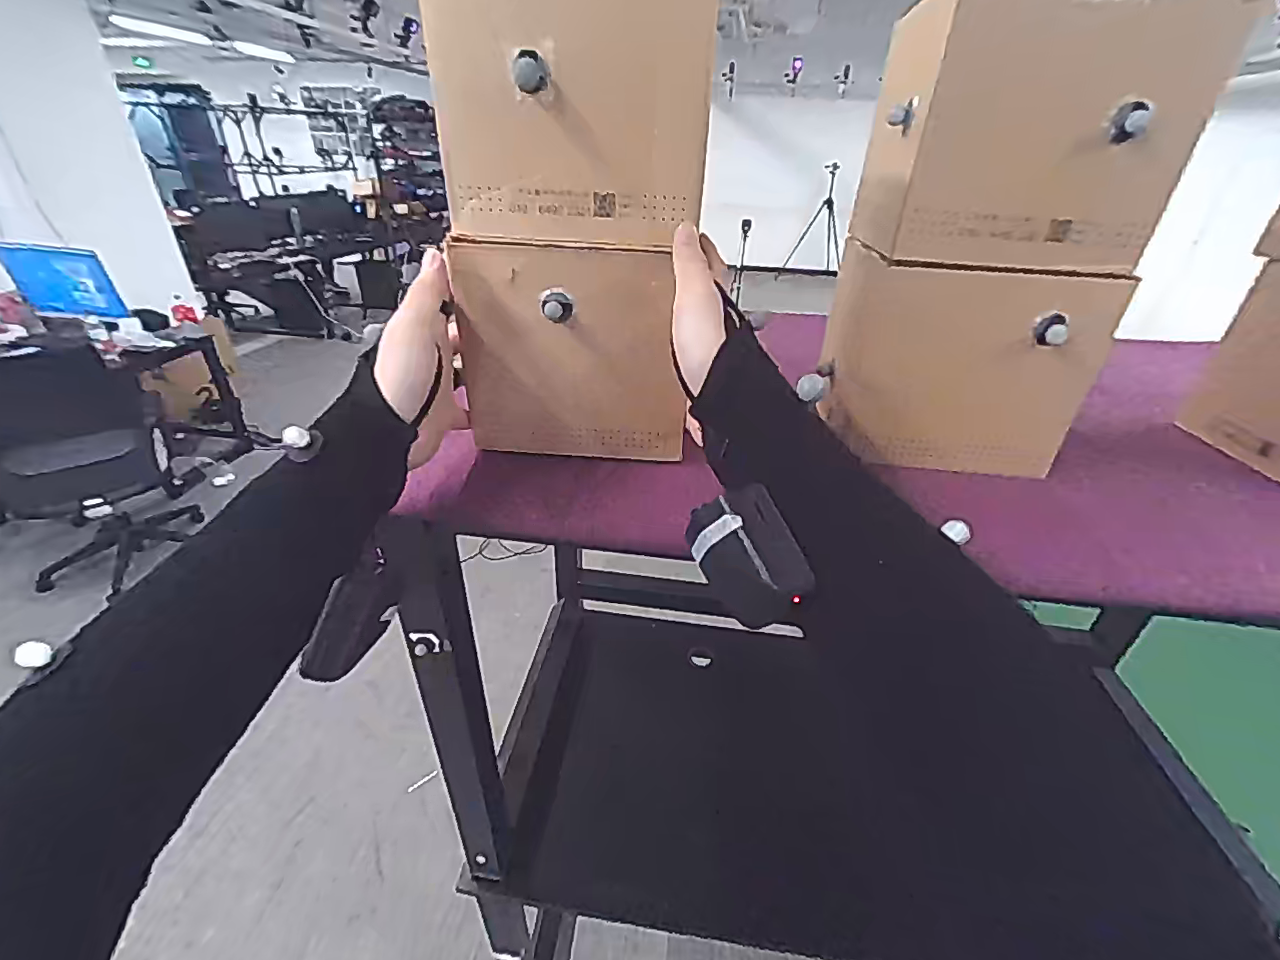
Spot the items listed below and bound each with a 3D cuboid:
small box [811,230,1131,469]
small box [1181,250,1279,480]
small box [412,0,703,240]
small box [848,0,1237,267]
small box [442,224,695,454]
[{"bbox_3d":[0.269,-0.123,0.494,0.179,0.176,0.168,6,31,7],"label":"small box"},{"bbox_3d":[0.638,-0.088,0.453,0.179,0.176,0.168,5,30,6],"label":"small box"},{"bbox_3d":[-0.041,-0.273,0.388,0.168,0.176,0.179,3,33,2],"label":"small box"},{"bbox_3d":[0.272,-0.264,0.413,0.168,0.176,0.179,7,31,7],"label":"small box"},{"bbox_3d":[-0.046,-0.134,0.472,0.179,0.176,0.168,3,34,2],"label":"small box"}]
